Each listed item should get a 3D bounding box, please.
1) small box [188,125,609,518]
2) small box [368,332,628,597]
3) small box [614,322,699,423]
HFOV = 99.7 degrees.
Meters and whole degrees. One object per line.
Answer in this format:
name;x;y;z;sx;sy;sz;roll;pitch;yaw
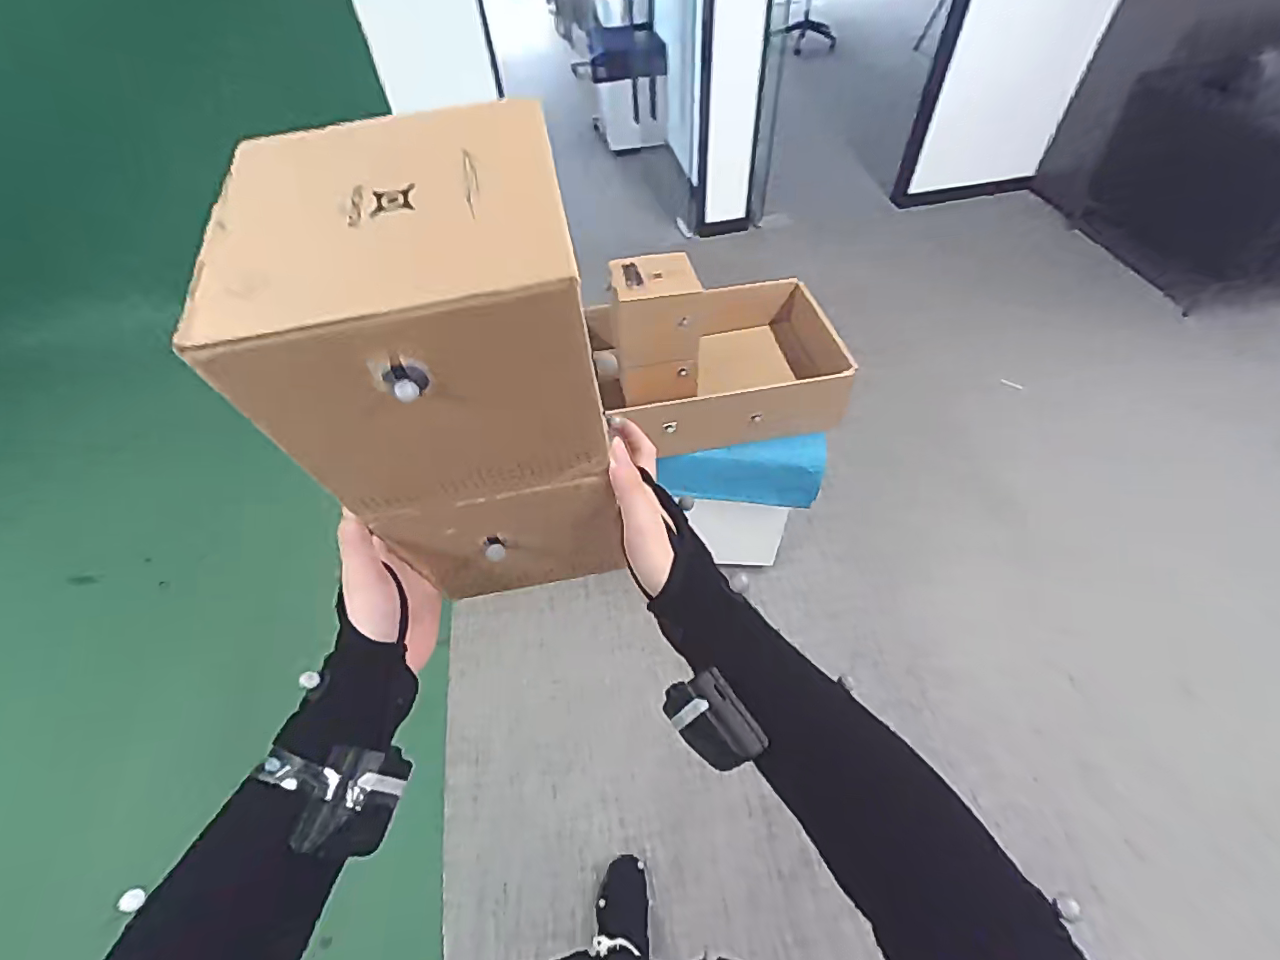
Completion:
small box;-0.125;-0.091;0.353;0.179;0.176;0.168;-11;59;-2
small box;-0.112;-0.006;0.491;0.179;0.176;0.168;-9;58;-2
small box;0.040;-0.258;1.319;0.179;0.176;0.168;-9;50;-5
